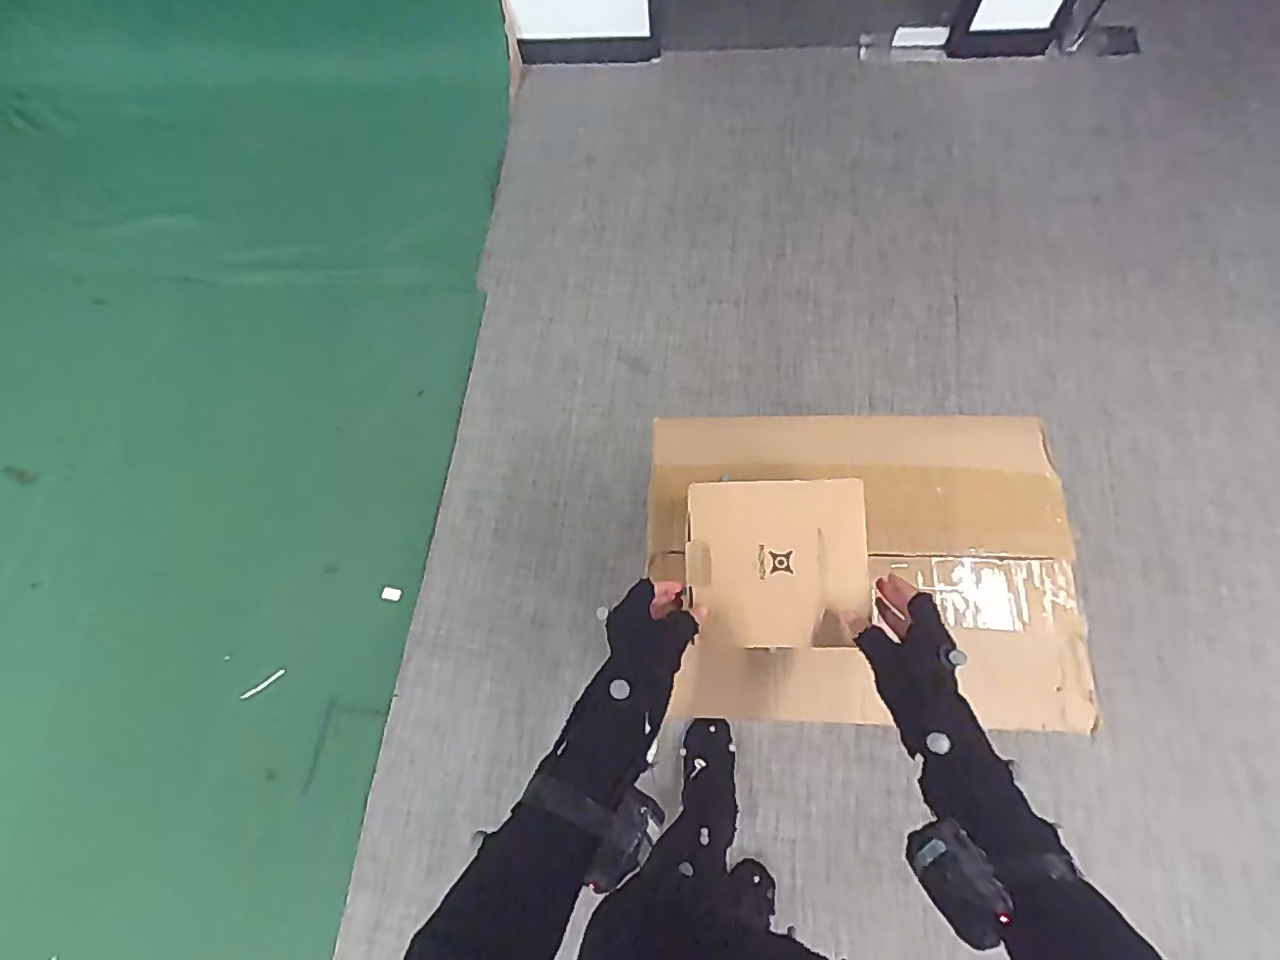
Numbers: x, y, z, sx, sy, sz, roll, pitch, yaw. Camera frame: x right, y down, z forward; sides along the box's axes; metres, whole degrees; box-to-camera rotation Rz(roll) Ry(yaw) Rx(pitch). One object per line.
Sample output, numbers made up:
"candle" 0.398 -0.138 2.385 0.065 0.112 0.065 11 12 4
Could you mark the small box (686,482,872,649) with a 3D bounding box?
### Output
"small box" 0.144 0.093 0.618 0.179 0.176 0.168 -2 85 4
